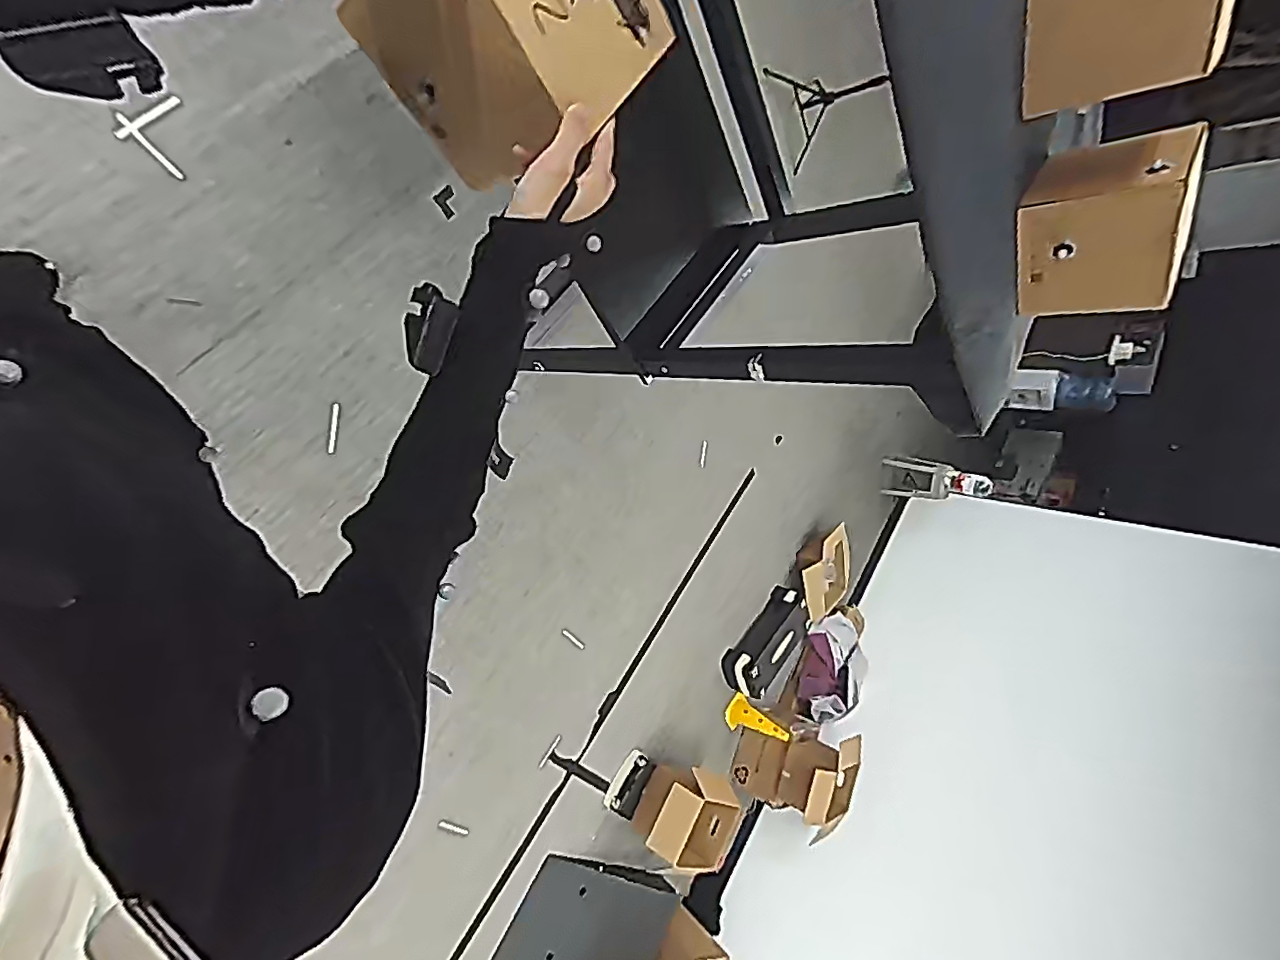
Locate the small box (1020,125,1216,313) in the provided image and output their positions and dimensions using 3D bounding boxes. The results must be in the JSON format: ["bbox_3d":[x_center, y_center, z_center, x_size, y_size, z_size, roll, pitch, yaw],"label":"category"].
[{"bbox_3d":[0.649,-0.350,0.747,0.179,0.176,0.168,-49,130,-25],"label":"small box"}]

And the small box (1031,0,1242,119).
[{"bbox_3d":[0.566,-0.546,0.615,0.168,0.176,0.179,-40,126,-32],"label":"small box"}]
